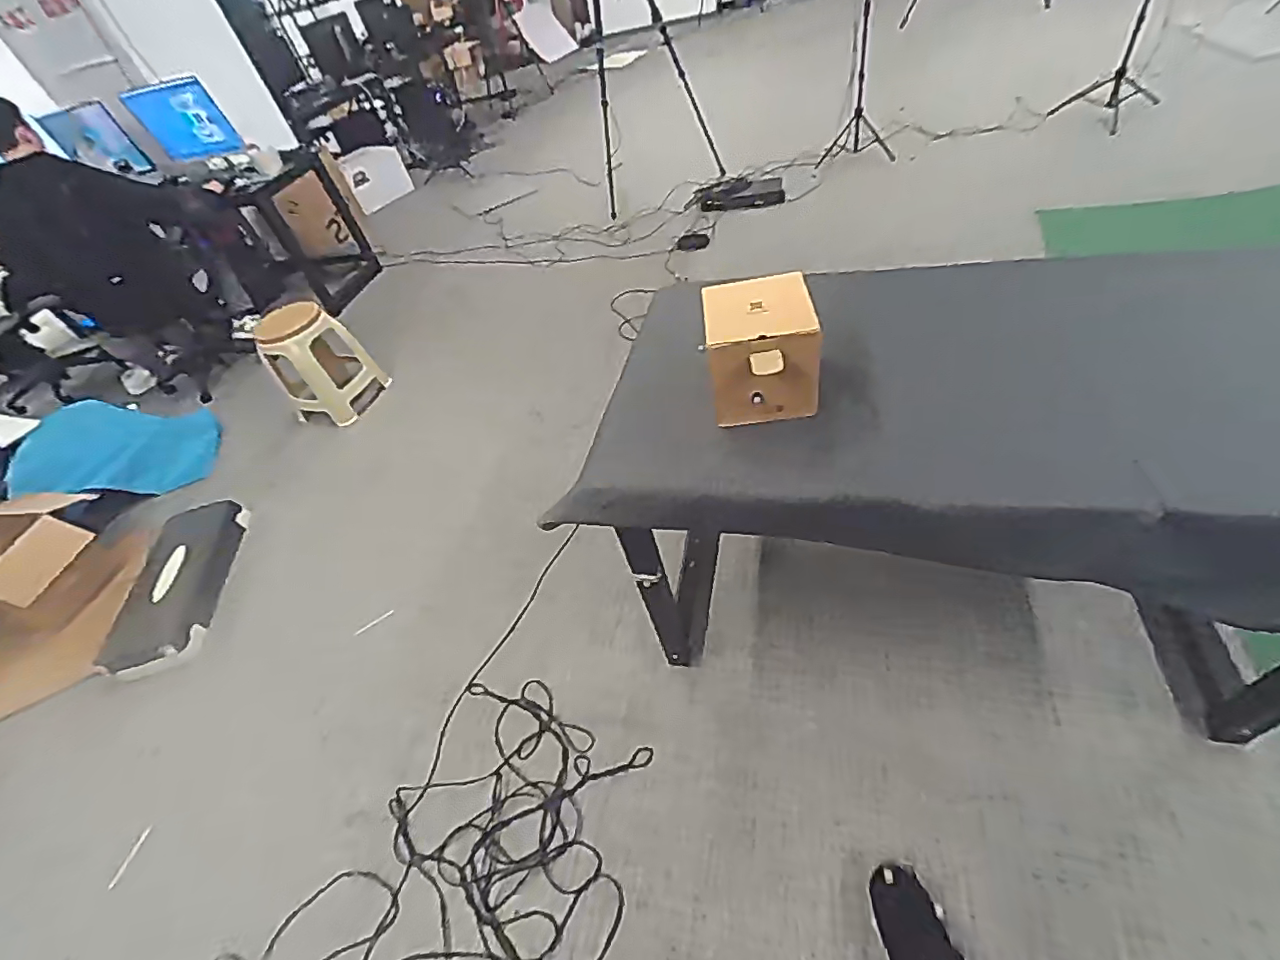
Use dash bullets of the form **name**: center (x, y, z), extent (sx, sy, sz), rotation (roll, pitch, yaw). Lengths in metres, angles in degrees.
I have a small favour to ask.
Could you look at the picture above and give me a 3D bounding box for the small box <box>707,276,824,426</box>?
- **small box**: center (0.203, -0.213, 0.906), extent (0.168, 0.176, 0.179), rotation (-6, 47, 9)
